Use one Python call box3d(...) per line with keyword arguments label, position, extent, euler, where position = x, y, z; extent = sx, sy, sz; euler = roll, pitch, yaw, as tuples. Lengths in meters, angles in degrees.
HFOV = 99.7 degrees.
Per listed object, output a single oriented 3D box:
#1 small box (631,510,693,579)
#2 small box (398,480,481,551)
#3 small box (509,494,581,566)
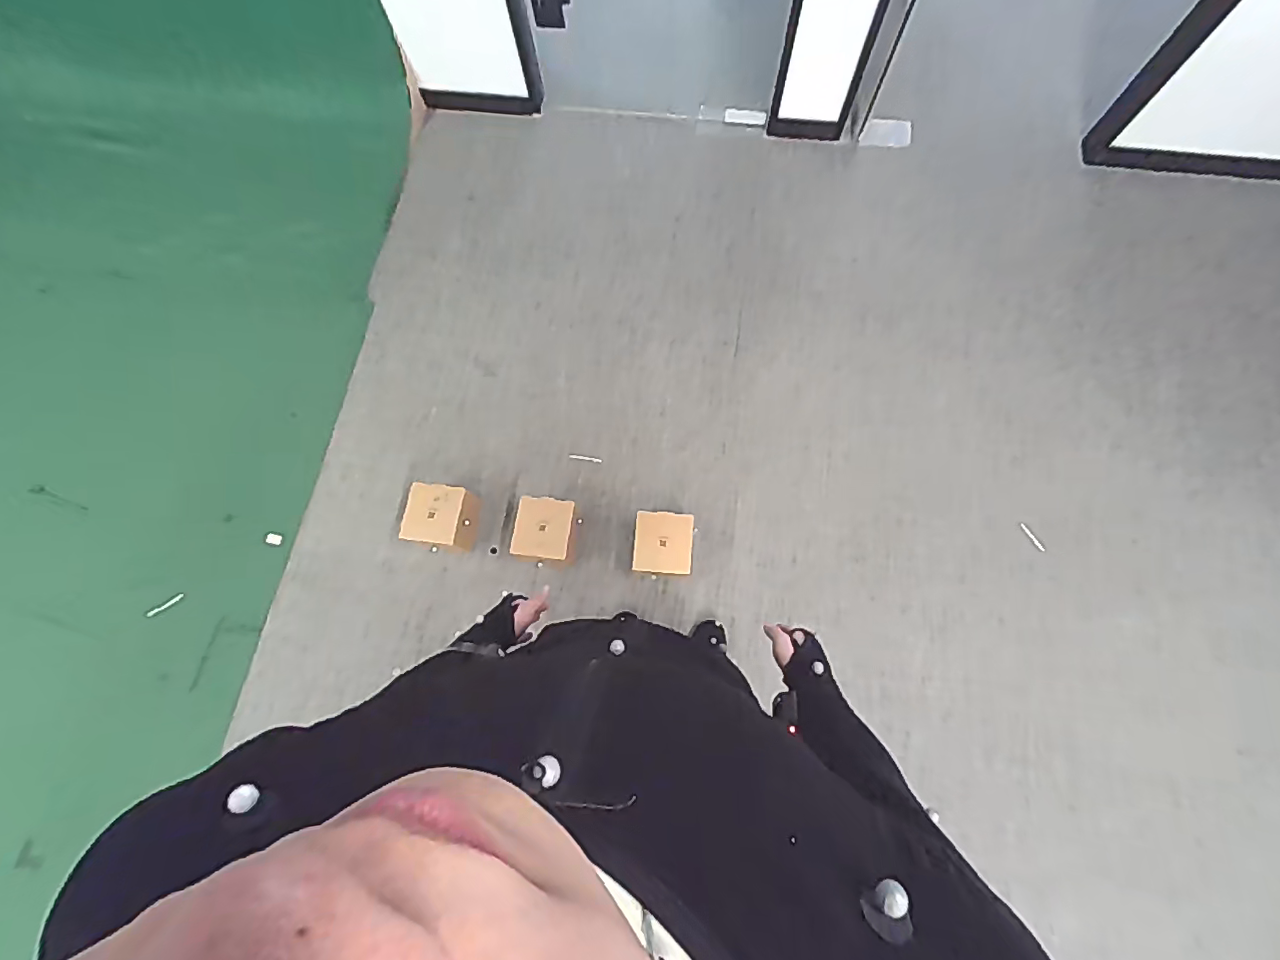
box3d(label="small box", position=(0.067, 0.196, 1.603), extent=(0.168, 0.176, 0.179), euler=(4, 74, 4))
box3d(label="small box", position=(-0.604, 0.115, 1.652), extent=(0.168, 0.176, 0.179), euler=(7, 74, 4))
box3d(label="small box", position=(-0.279, 0.154, 1.629), extent=(0.168, 0.176, 0.179), euler=(7, 75, 5))
